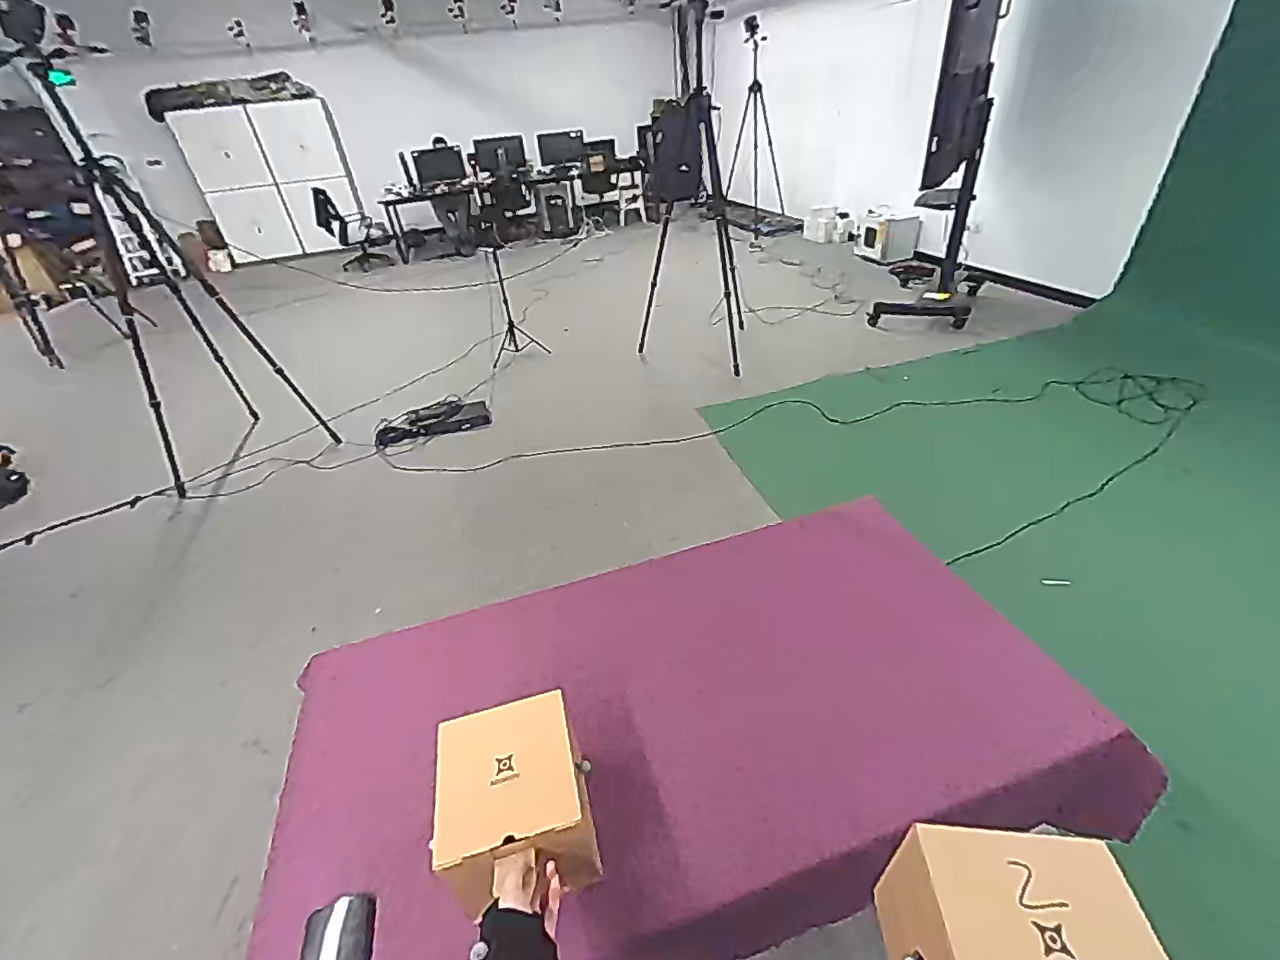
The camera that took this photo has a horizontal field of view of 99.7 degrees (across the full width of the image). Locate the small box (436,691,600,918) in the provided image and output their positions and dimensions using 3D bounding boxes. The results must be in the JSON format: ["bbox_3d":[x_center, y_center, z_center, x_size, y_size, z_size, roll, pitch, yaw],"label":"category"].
[{"bbox_3d":[-0.154,0.415,0.701,0.168,0.176,0.179,-12,36,-9],"label":"small box"}]
